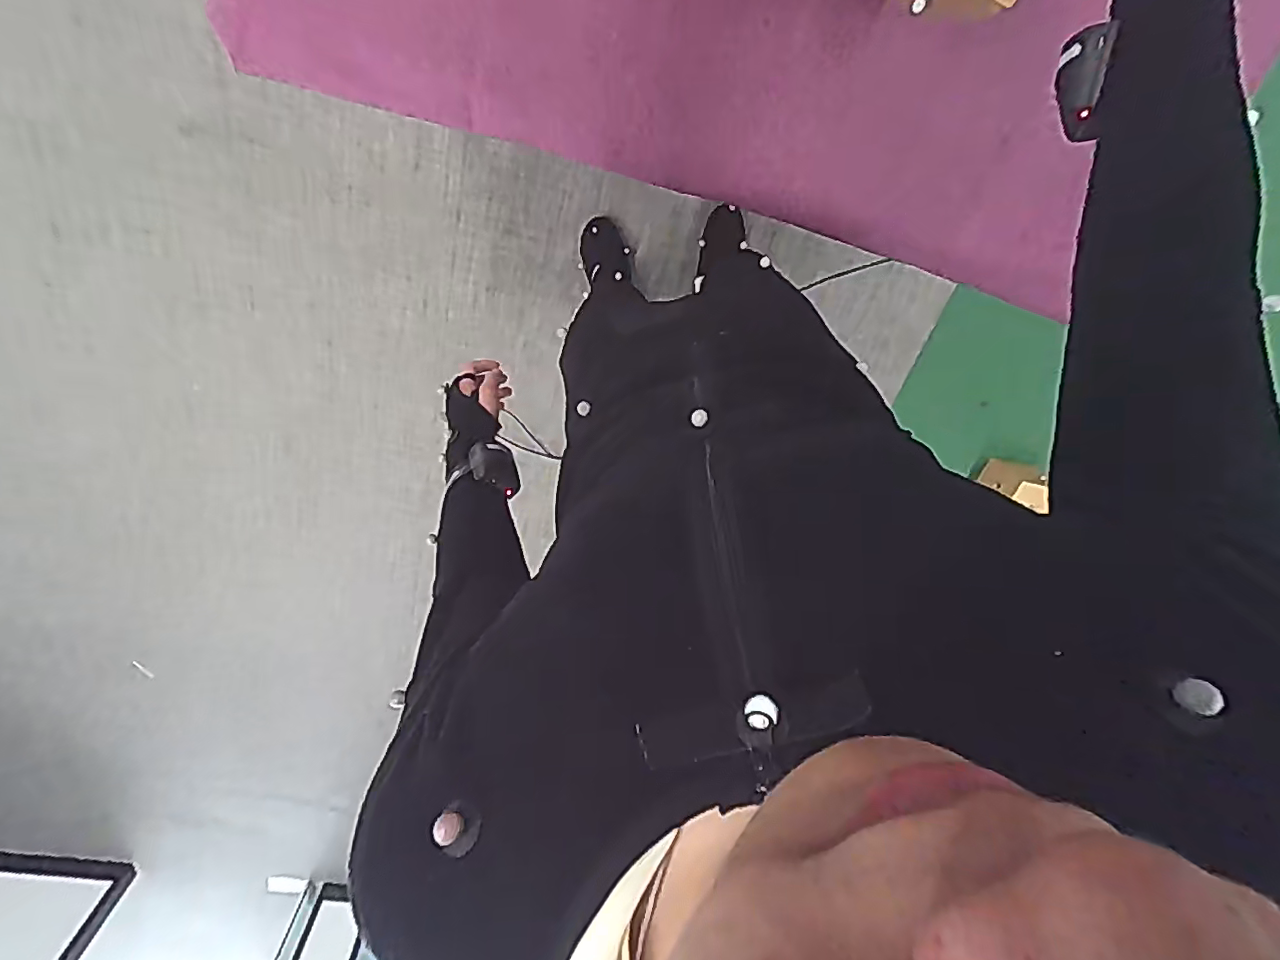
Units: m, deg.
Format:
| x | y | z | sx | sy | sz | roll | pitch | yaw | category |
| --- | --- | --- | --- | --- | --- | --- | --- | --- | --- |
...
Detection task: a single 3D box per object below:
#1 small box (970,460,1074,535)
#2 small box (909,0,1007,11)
| x | y | z | sx | sy | sz | roll | pitch | yaw | category |
| --- | --- | --- | --- | --- | --- | --- | --- | --- | --- |
| 1.209 | 0.050 | 1.729 | 0.179 | 0.176 | 0.168 | 11 | 118 | -9 | small box |
| 0.272 | -0.546 | 0.465 | 0.179 | 0.176 | 0.168 | 20 | 126 | -14 | small box |
